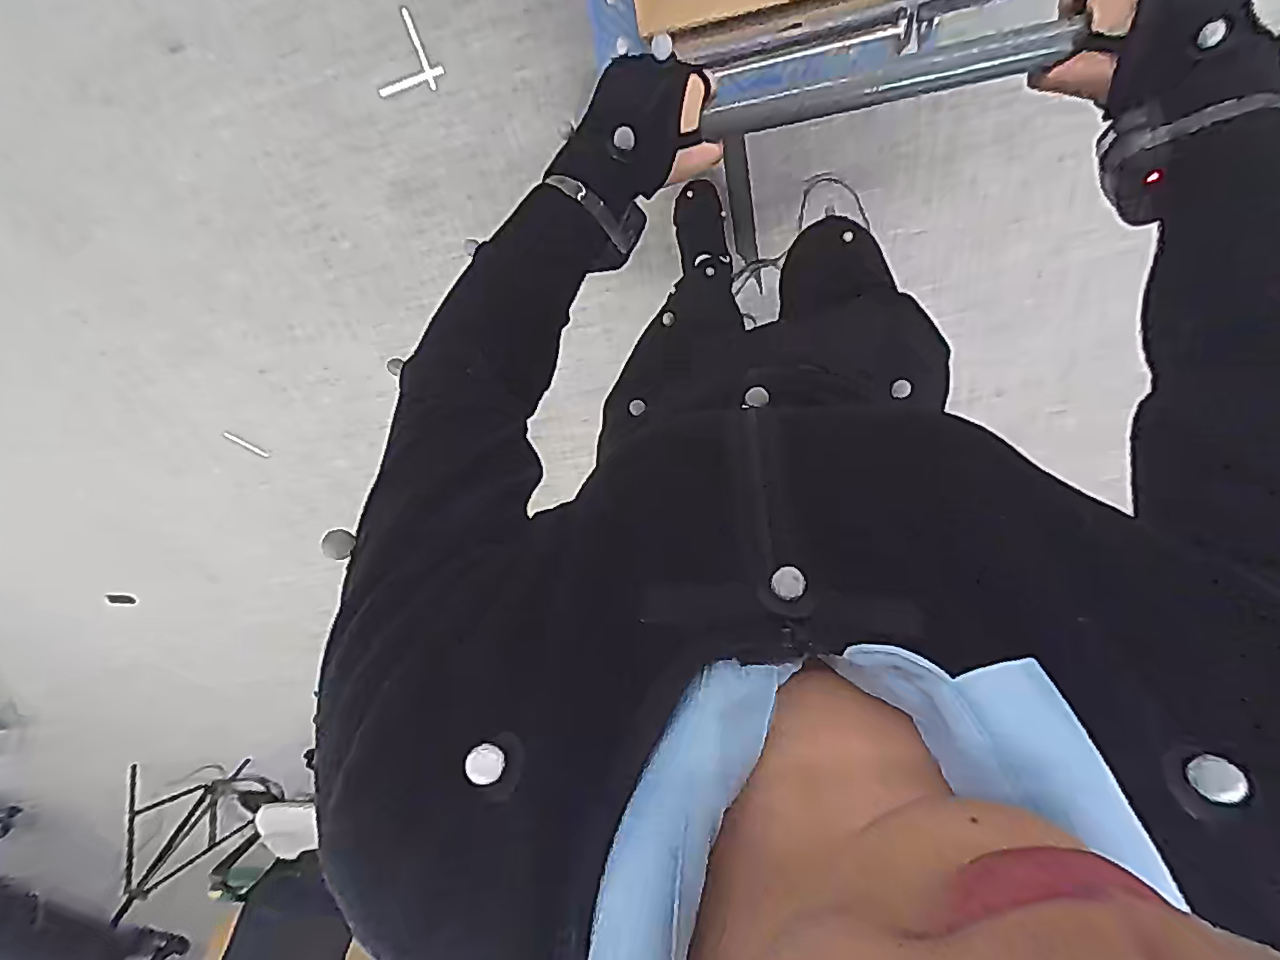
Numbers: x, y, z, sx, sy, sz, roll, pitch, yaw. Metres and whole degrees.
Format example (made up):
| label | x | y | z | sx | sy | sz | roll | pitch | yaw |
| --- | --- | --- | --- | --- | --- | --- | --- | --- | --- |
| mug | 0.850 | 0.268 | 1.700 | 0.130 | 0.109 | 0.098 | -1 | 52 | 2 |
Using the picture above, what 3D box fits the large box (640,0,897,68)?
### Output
| label | x | y | z | sx | sy | sz | roll | pitch | yaw |
| --- | --- | --- | --- | --- | --- | --- | --- | --- | --- |
| large box | 0.179 | -0.792 | 0.709 | 0.408 | 0.320 | 0.320 | -8 | 123 | 9 |
